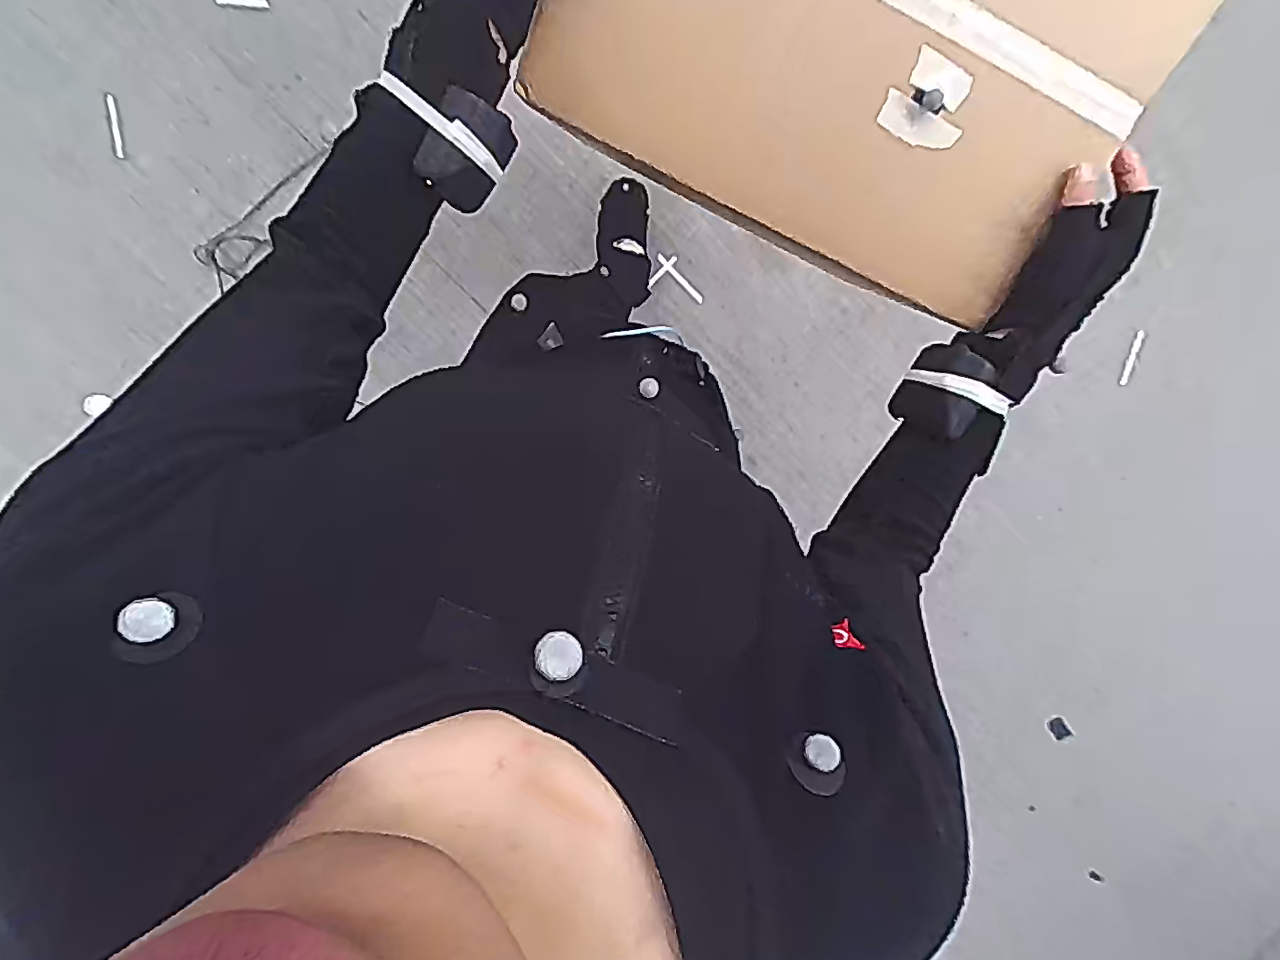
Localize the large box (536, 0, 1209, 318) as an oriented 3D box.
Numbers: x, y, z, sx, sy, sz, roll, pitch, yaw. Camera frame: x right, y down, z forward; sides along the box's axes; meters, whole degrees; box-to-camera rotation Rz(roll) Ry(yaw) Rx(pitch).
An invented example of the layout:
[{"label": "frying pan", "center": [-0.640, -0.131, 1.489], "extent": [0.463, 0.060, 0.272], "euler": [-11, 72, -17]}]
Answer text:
[{"label": "large box", "center": [0.167, -0.398, 0.492], "extent": [0.408, 0.320, 0.320], "euler": [23, 117, -9]}]
